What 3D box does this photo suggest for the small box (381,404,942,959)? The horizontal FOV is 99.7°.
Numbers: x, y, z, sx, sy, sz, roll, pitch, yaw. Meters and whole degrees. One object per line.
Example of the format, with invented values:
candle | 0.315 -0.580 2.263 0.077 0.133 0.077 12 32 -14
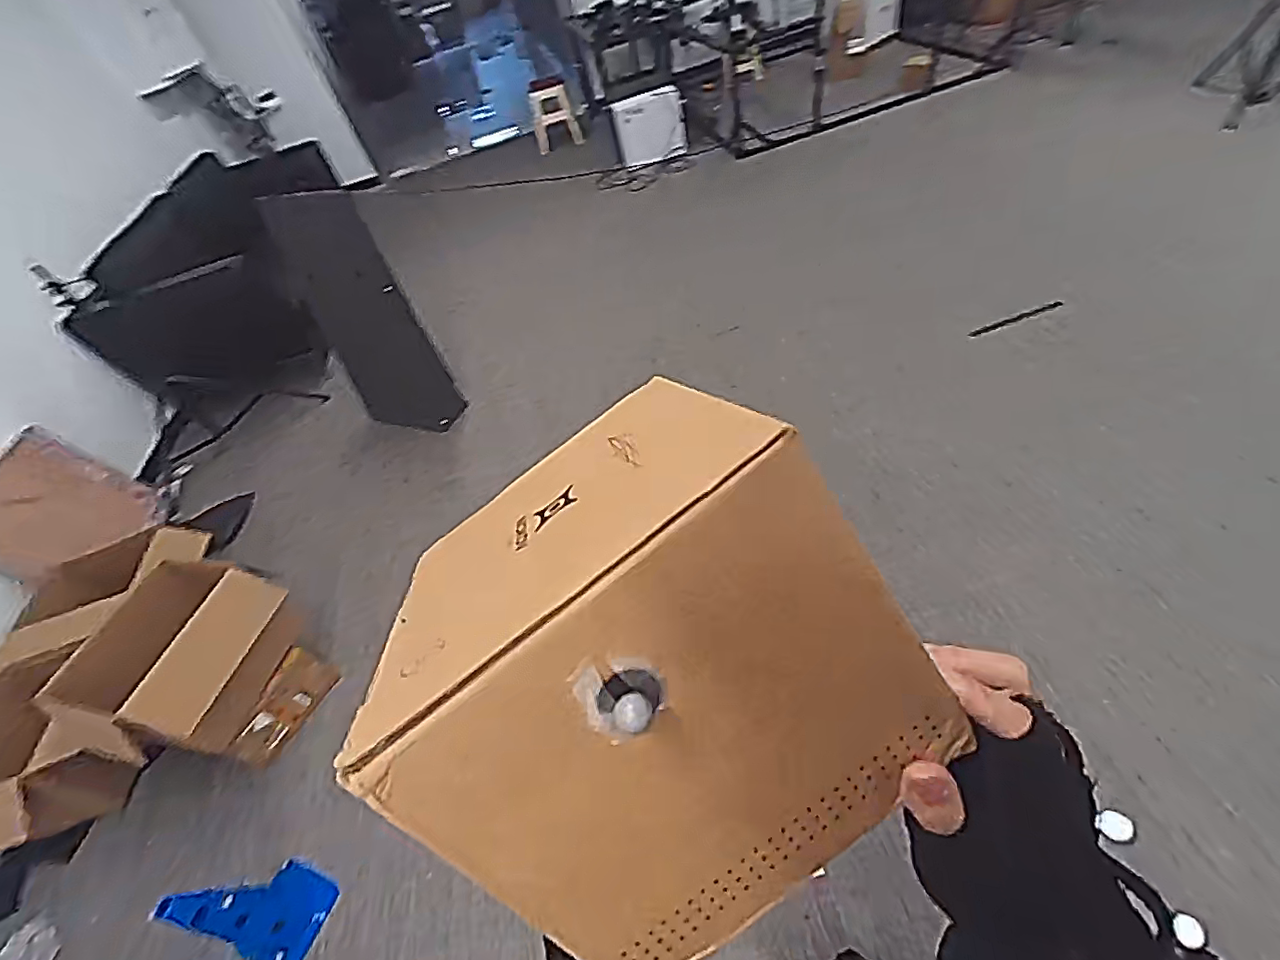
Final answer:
small box | 0.011 0.087 0.282 0.179 0.176 0.168 -37 21 -1
